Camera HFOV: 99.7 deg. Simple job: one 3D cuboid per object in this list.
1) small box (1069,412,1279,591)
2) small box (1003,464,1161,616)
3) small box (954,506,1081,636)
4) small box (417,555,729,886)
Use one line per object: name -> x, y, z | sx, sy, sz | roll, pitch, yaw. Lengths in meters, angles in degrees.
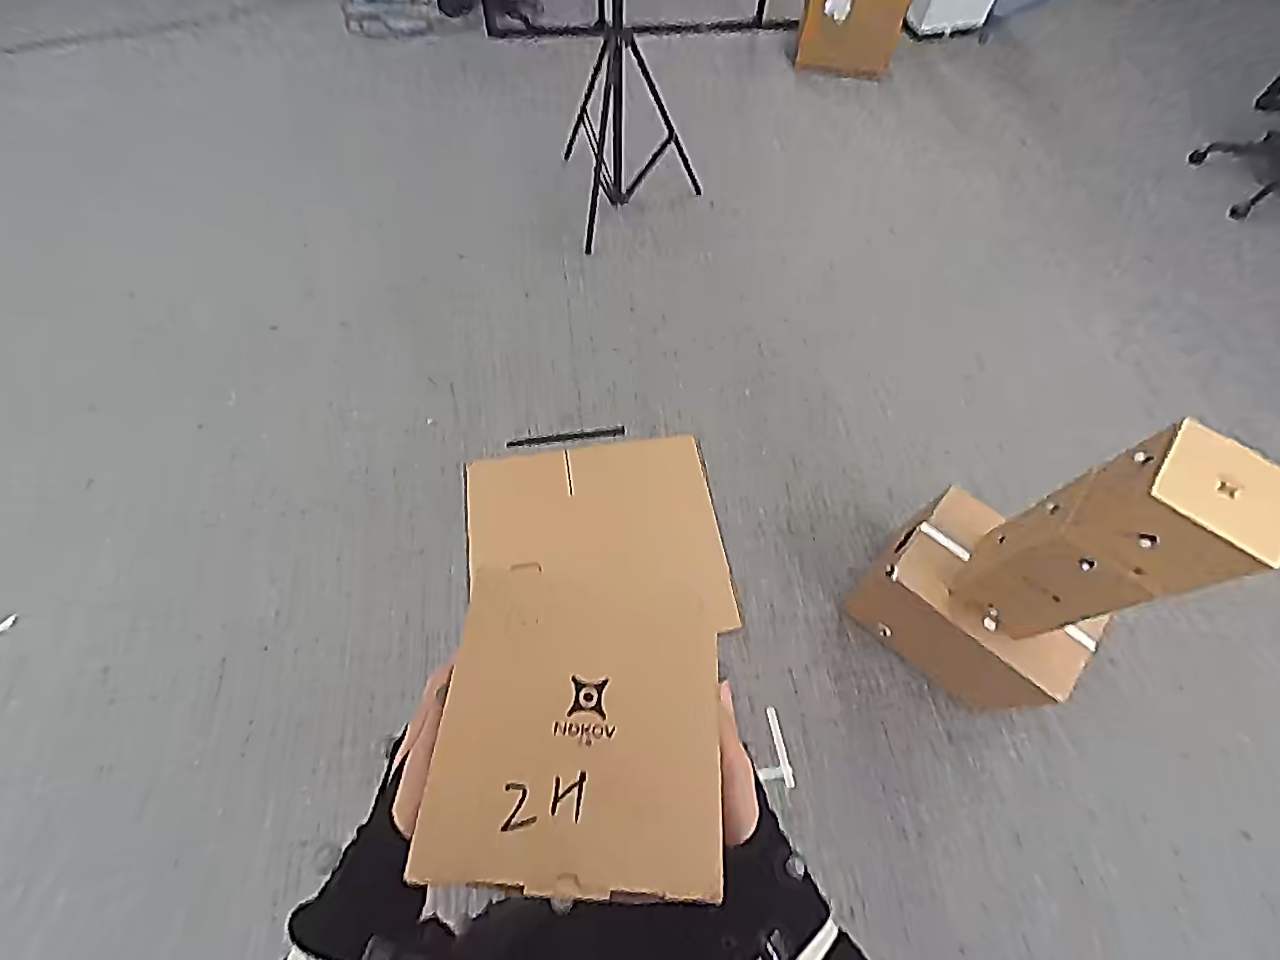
small box -> 0.803, 0.040, 0.816 | 0.168, 0.176, 0.179 | 38, 67, 16
small box -> 0.796, 0.111, 0.962 | 0.168, 0.176, 0.179 | 38, 67, 16
small box -> 0.788, 0.189, 1.107 | 0.168, 0.176, 0.179 | 38, 68, 16
small box -> -0.039, 0.177, 0.391 | 0.168, 0.176, 0.179 | 6, 55, -3
